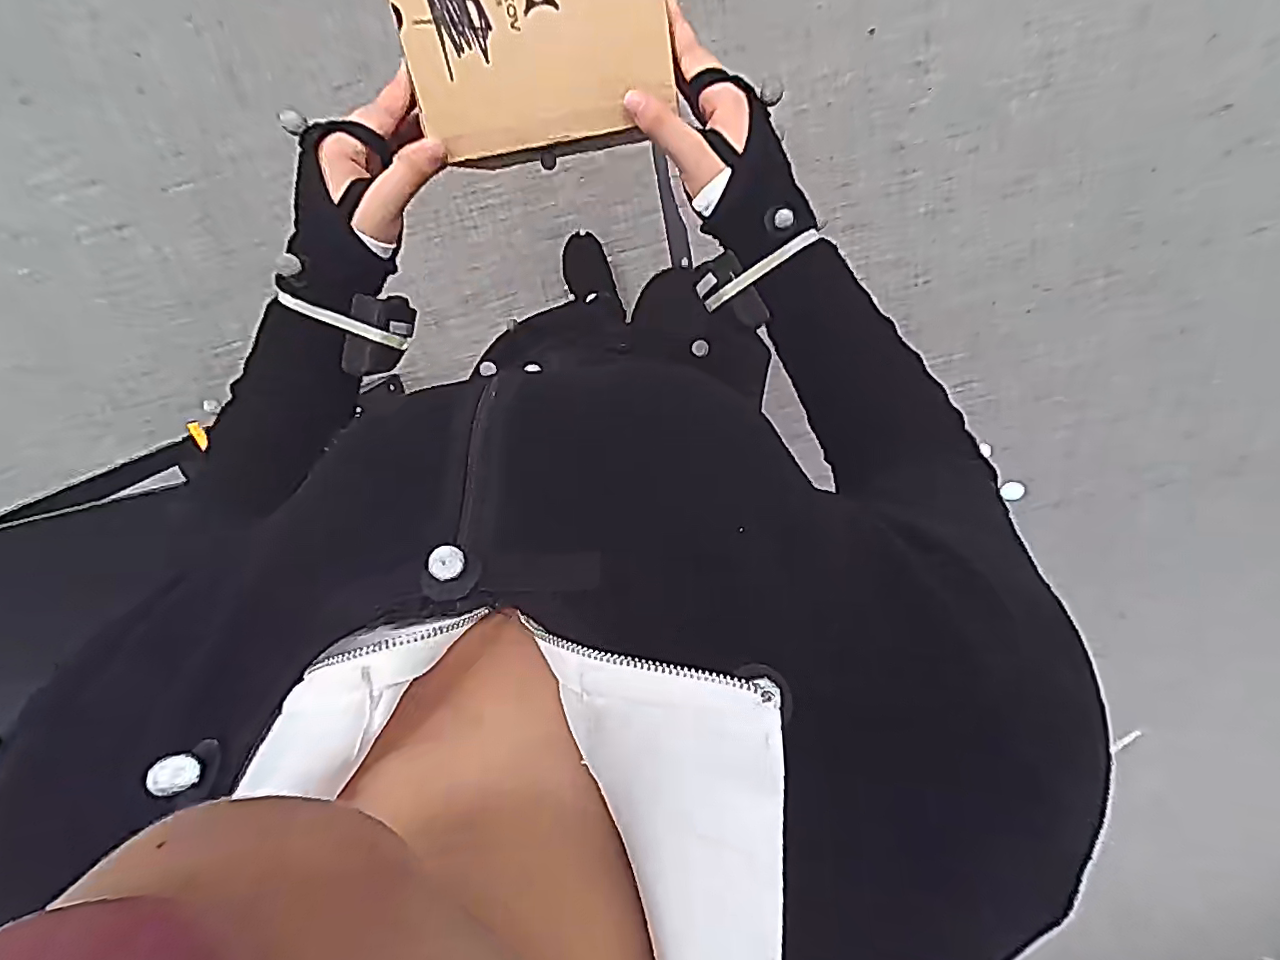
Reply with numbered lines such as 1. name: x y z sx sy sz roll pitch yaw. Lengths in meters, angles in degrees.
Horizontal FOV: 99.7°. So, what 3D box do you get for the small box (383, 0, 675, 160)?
1. small box: -0.073 -0.343 0.396 0.179 0.176 0.168 -8 119 3
